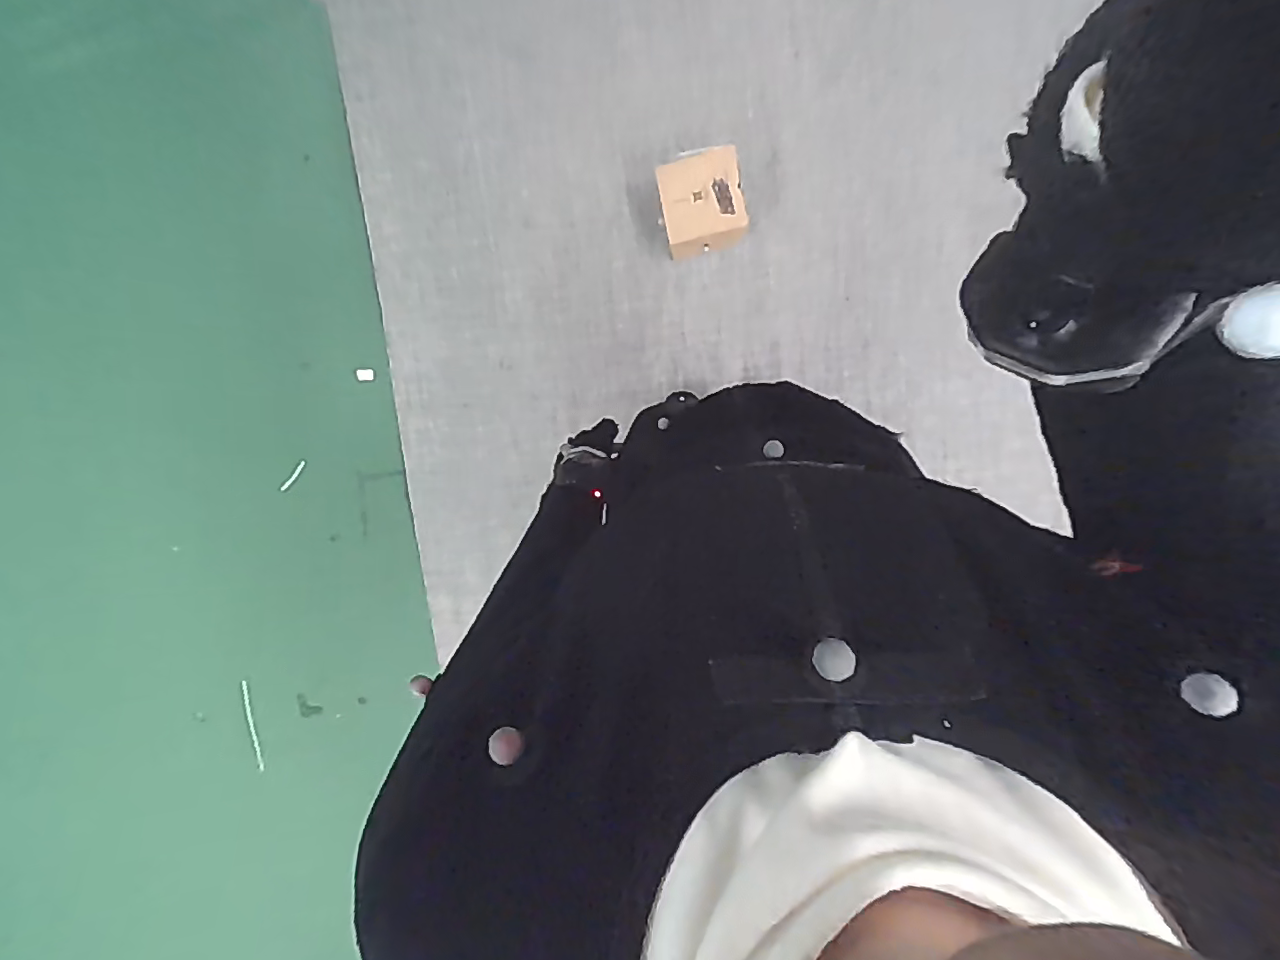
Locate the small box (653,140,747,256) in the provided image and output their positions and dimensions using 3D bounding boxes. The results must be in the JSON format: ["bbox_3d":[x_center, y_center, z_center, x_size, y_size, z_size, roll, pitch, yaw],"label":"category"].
[{"bbox_3d":[0.136,-0.639,1.246,0.179,0.176,0.168,-14,98,8],"label":"small box"}]
